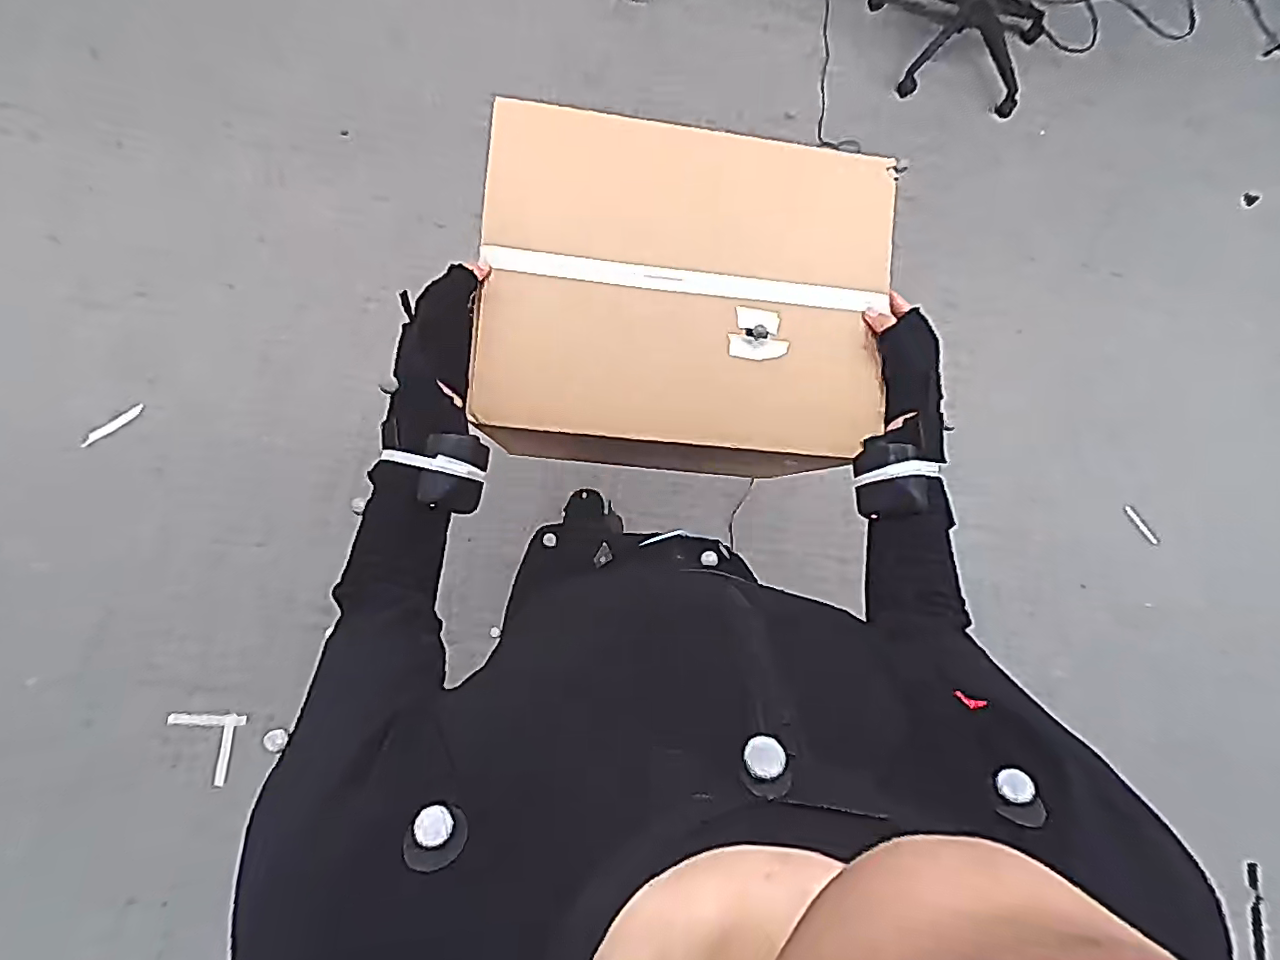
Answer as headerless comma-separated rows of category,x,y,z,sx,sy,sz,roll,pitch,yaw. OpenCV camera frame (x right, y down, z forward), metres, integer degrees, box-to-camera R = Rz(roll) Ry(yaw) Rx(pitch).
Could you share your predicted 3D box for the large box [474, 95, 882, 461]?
large box,0.028,-0.202,0.686,0.408,0.320,0.320,5,88,-7
